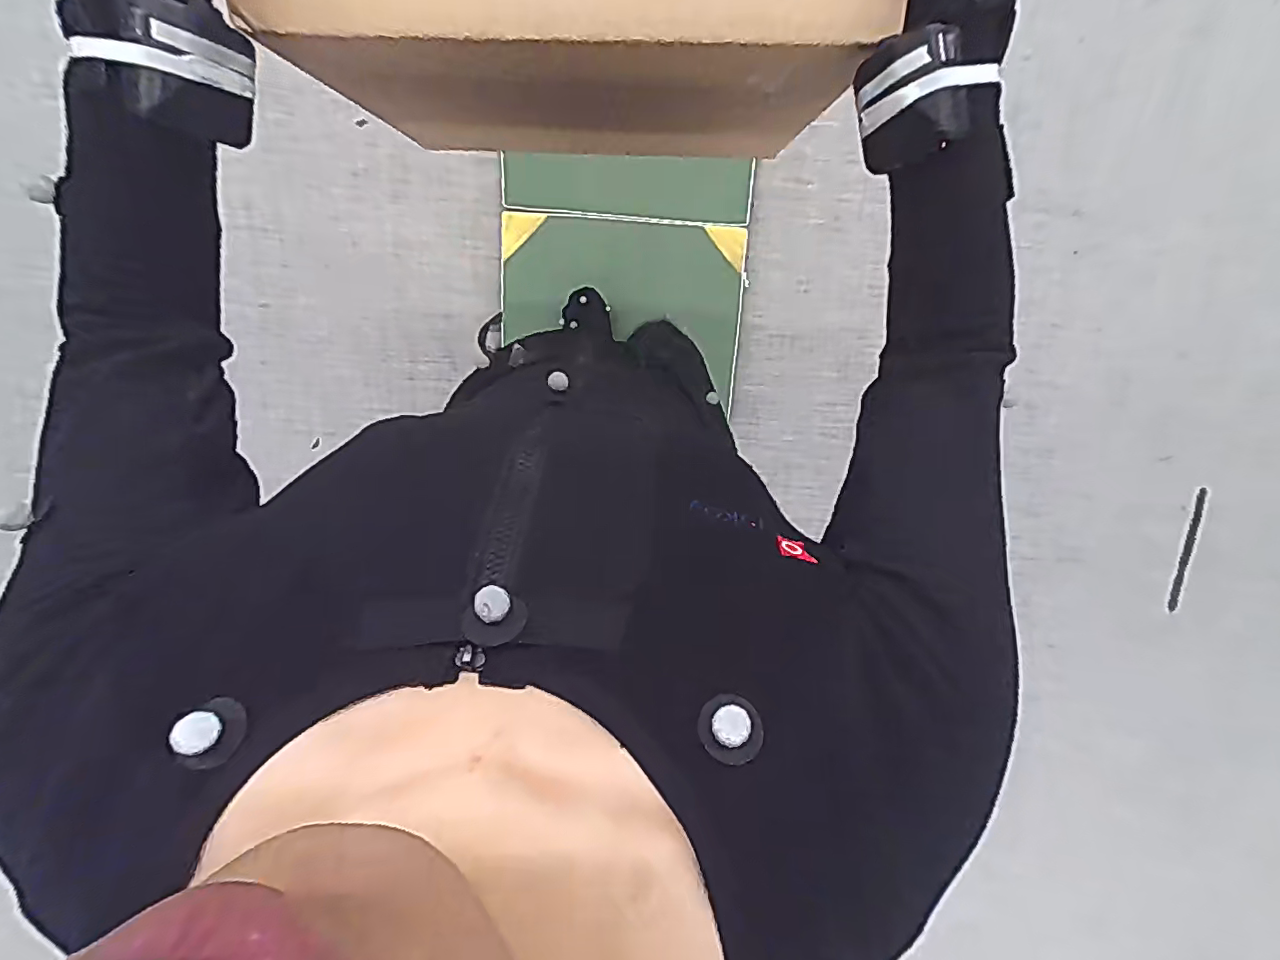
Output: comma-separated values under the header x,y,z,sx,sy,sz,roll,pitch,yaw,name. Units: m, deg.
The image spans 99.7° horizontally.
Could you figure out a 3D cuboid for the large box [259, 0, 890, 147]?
x,y,z,sx,sy,sz,roll,pitch,yaw,name
-0.045,-0.480,0.432,0.408,0.320,0.320,0,111,-2,large box
